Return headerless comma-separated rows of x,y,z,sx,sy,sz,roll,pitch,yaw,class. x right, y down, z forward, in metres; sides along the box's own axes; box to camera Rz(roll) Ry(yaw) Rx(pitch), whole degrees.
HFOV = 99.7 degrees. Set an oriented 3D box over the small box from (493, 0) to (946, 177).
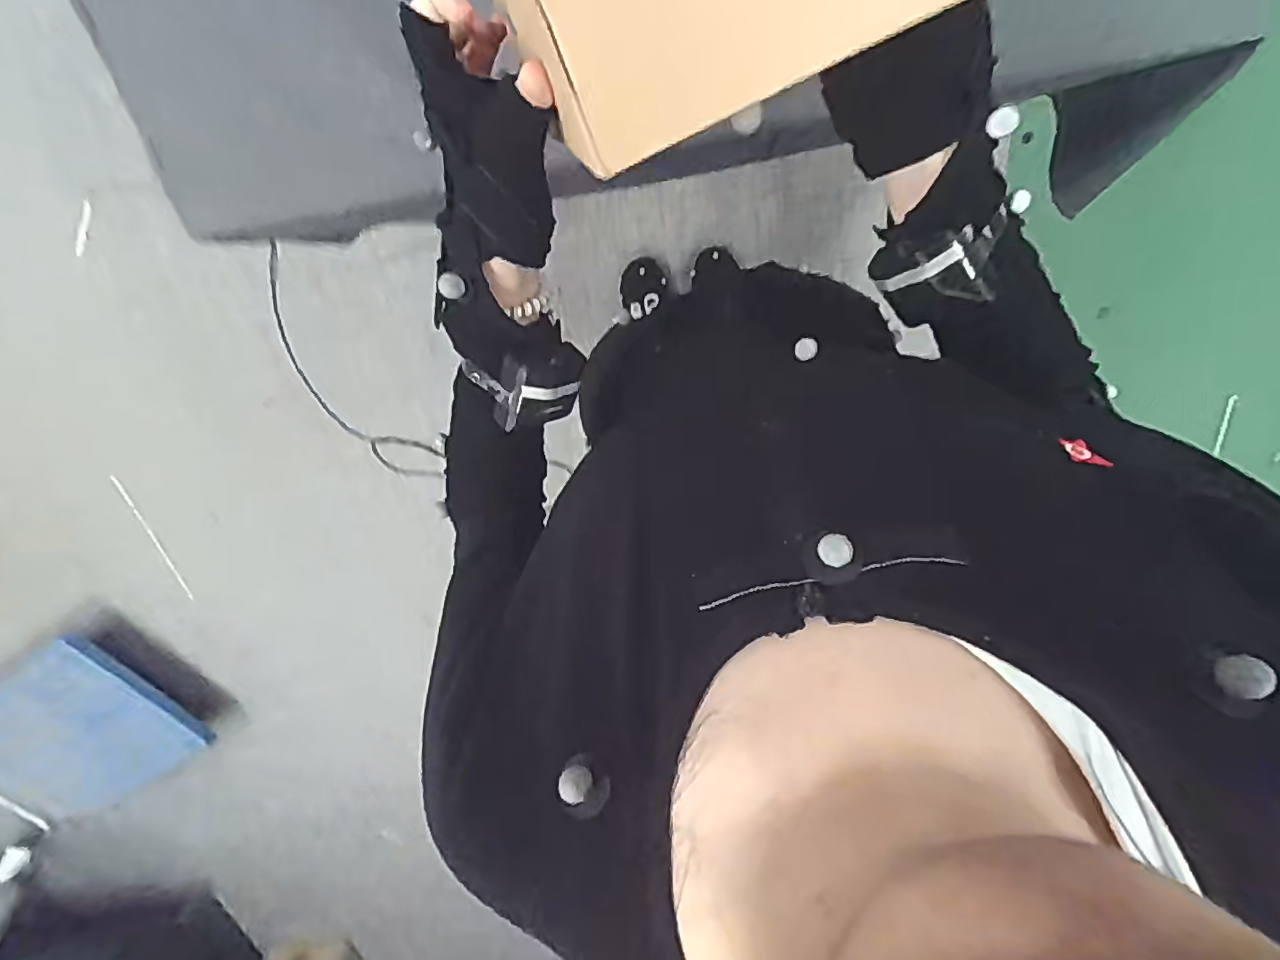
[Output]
0.012,-0.263,0.229,0.179,0.176,0.168,-26,128,4,small box
